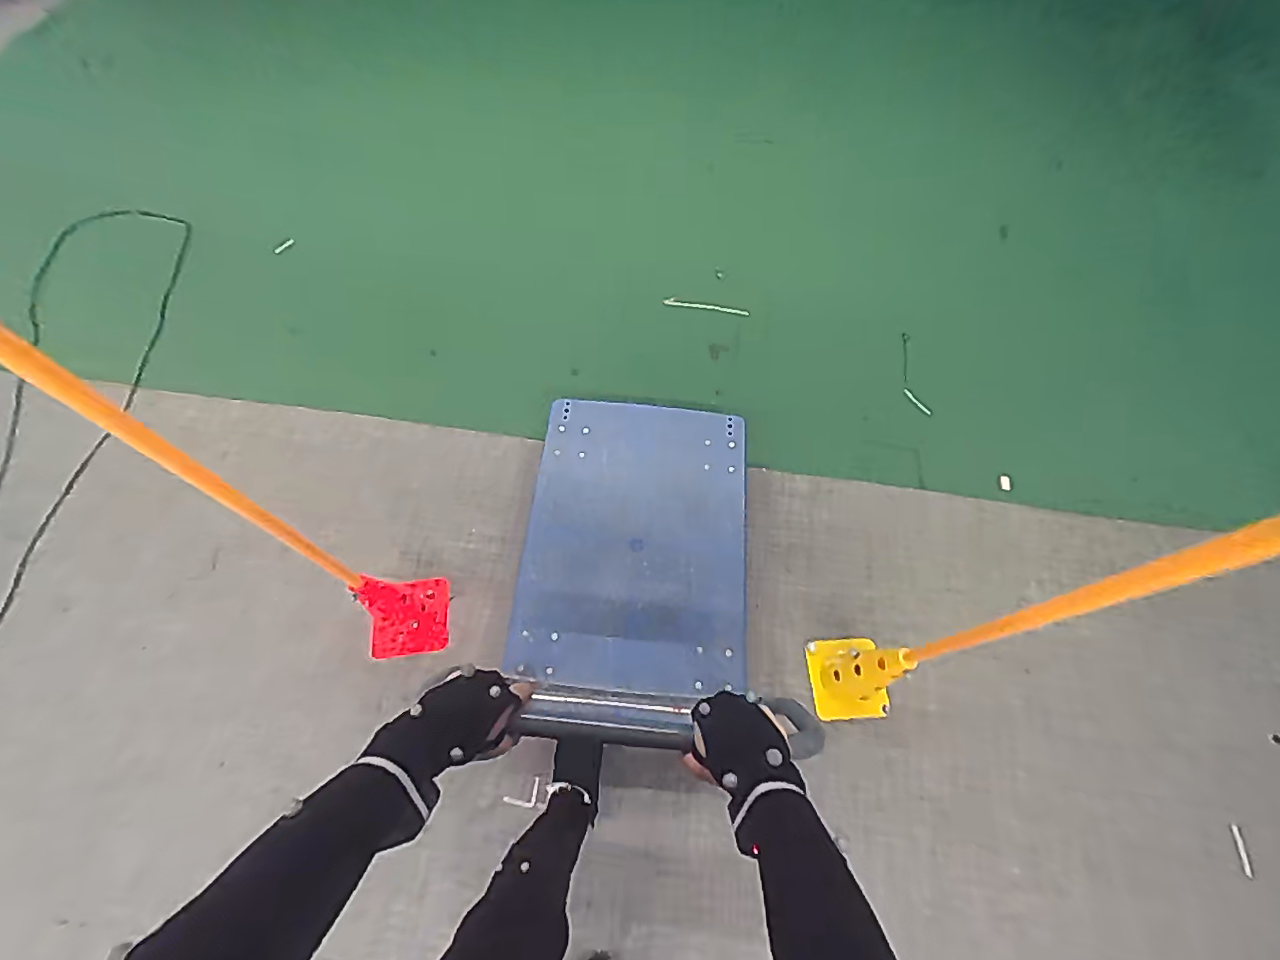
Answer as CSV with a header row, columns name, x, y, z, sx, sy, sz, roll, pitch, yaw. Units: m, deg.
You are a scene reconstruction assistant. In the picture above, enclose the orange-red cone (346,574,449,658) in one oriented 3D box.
name,x,y,z,sx,sy,sz,roll,pitch,yaw
orange-red cone,-0.618,0.298,1.311,0.199,0.360,0.198,-6,64,-4
